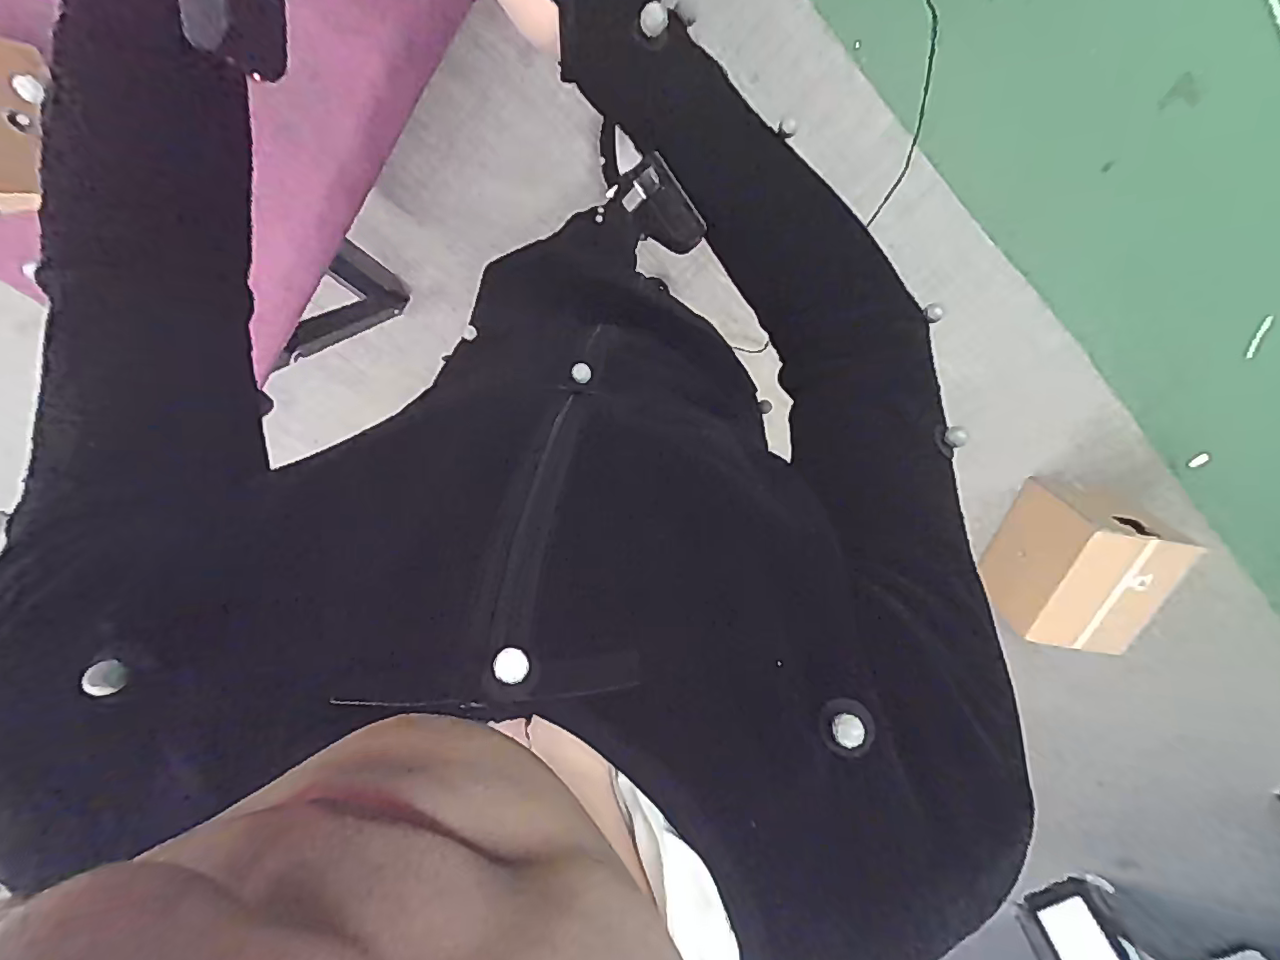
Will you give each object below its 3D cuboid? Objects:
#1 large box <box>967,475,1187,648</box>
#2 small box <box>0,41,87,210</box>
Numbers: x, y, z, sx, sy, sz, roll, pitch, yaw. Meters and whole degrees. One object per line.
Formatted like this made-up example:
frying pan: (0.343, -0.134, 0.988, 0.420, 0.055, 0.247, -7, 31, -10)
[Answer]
large box: (1.311, 0.247, 1.678, 0.320, 0.320, 0.408, 9, 117, -4)
small box: (-0.814, -0.411, 0.625, 0.179, 0.176, 0.168, -6, 117, 4)
